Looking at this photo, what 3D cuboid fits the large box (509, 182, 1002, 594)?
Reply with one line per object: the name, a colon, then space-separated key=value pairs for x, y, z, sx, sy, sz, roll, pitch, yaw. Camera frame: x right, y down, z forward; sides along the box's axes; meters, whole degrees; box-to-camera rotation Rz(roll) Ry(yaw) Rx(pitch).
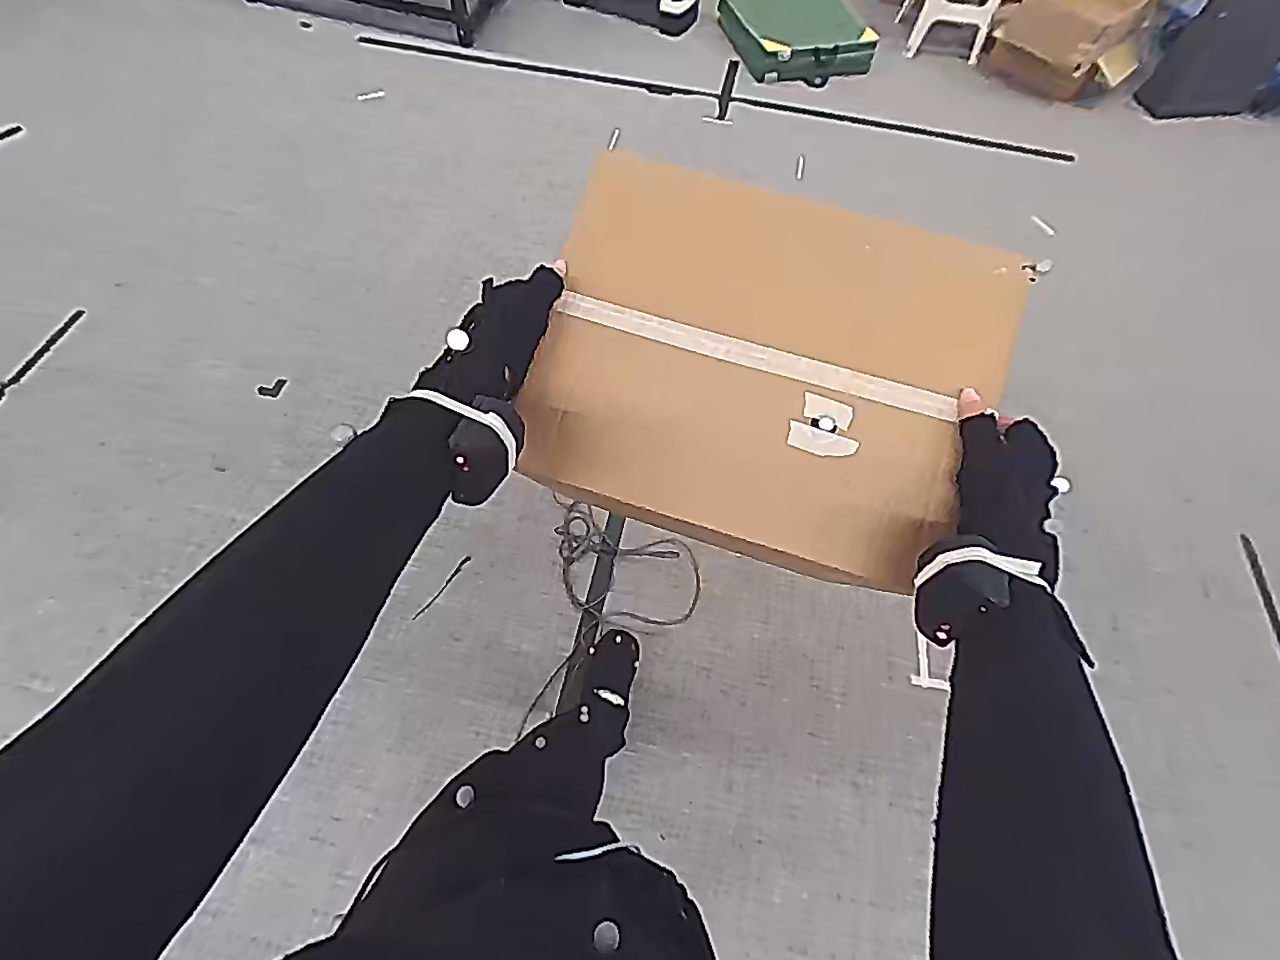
large box: x=0.112 y=-0.079 z=0.649 sx=0.408 sy=0.320 sz=0.320 roll=17 pitch=85 yaw=4
